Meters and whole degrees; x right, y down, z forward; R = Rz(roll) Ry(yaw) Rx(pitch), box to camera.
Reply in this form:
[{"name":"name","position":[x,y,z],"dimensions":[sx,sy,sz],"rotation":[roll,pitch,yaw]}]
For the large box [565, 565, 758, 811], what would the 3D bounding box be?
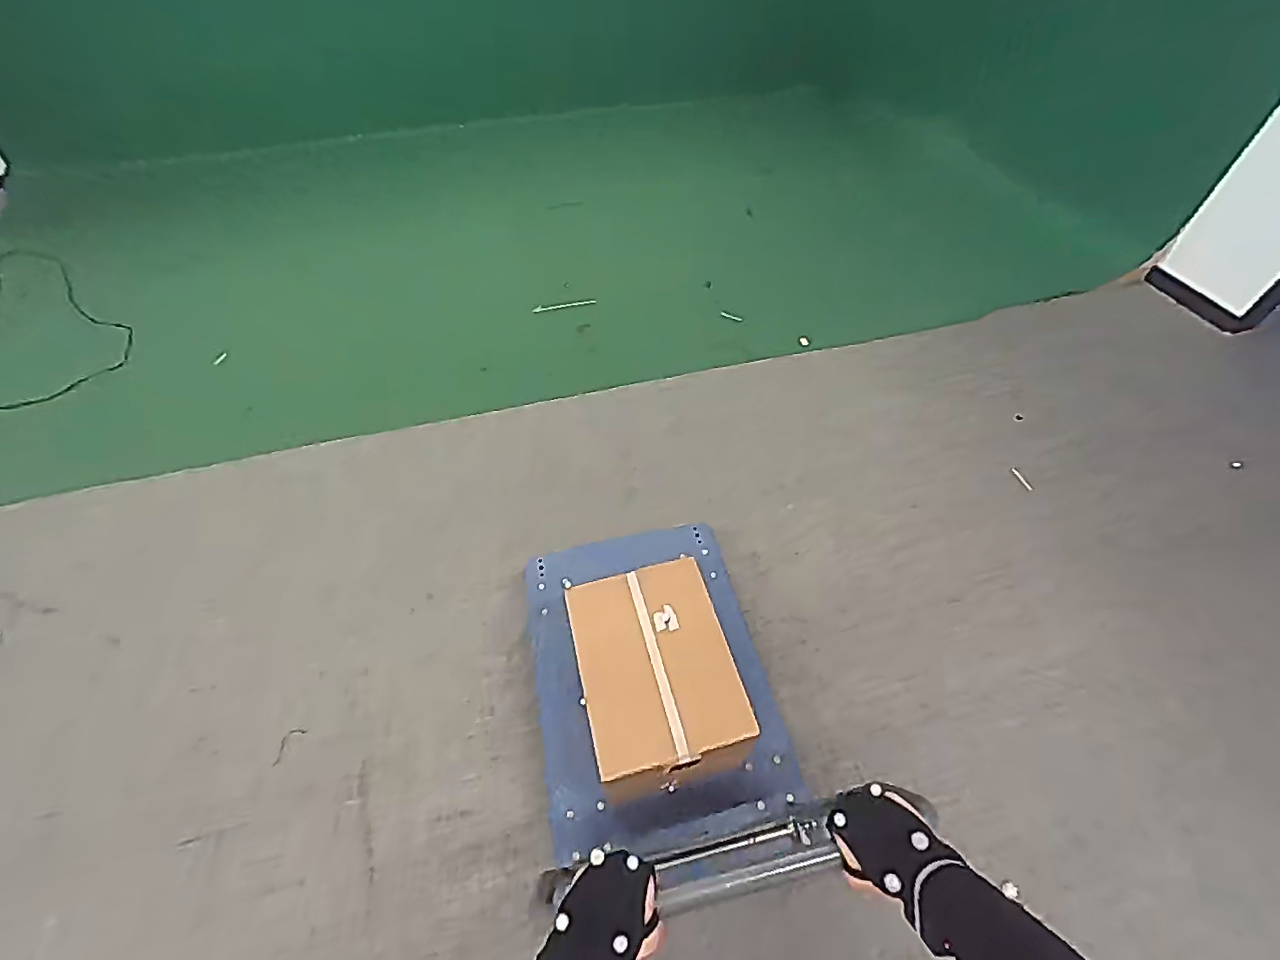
[{"name":"large box","position":[0.036,0.476,1.246],"dimensions":[0.320,0.320,0.408],"rotation":[-13,52,-8]}]
